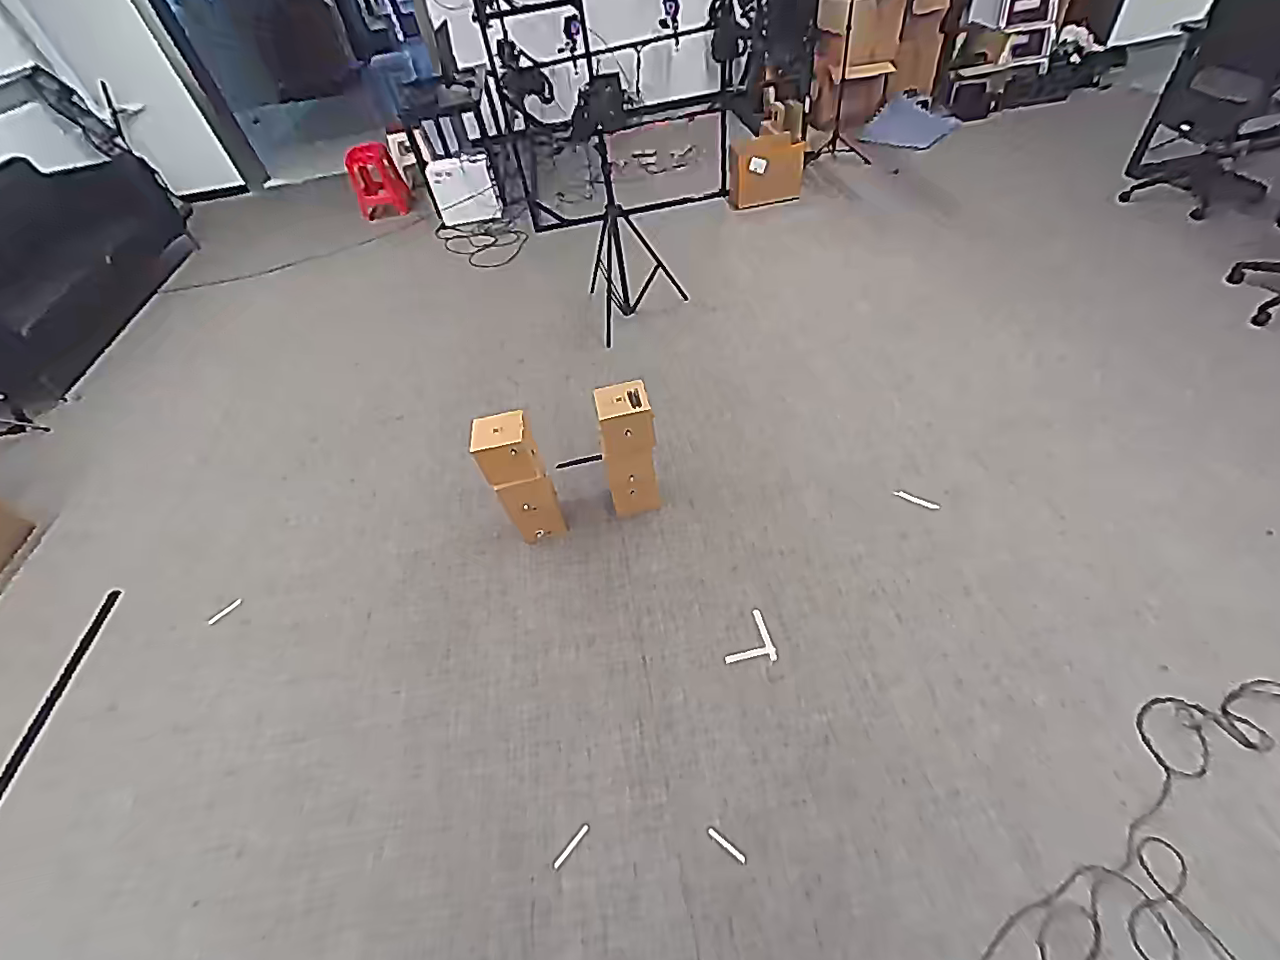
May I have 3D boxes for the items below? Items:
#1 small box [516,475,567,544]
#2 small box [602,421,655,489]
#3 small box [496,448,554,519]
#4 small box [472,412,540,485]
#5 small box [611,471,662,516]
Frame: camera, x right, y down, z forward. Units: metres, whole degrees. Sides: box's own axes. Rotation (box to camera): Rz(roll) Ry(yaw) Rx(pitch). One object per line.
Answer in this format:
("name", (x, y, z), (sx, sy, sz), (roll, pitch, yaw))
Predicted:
("small box", (-0.388, 0.114, 2.078), (0.168, 0.176, 0.179), (-16, 48, -4))
("small box", (-0.040, -0.089, 1.978), (0.179, 0.176, 0.168), (-9, 47, 0))
("small box", (-0.416, 0.011, 1.953), (0.168, 0.176, 0.179), (-15, 48, -2))
("small box", (-0.452, -0.103, 1.842), (0.179, 0.176, 0.168), (-11, 47, 0))
("small box", (-0.019, 0.021, 2.098), (0.179, 0.176, 0.168), (-10, 48, 0))
